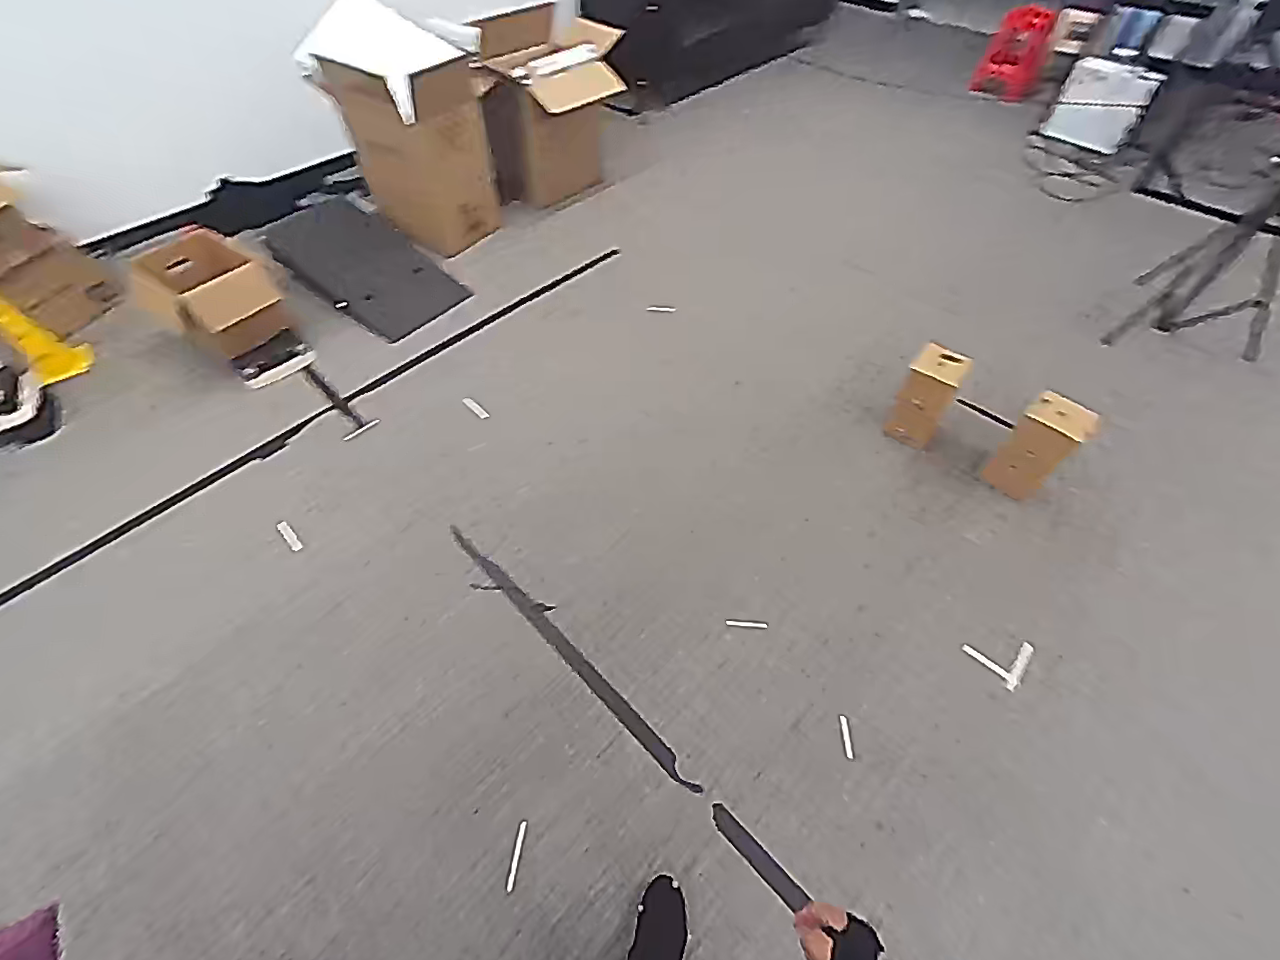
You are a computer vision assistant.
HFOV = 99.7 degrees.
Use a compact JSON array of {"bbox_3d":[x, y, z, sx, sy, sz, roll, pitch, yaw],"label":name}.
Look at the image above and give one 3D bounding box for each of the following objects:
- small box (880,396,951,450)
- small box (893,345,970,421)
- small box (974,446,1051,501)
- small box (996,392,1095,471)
[{"bbox_3d":[1.058,-0.252,2.089,0.168,0.176,0.179,32,60,22],"label":"small box"},{"bbox_3d":[1.048,-0.351,1.959,0.168,0.176,0.179,33,61,23],"label":"small box"},{"bbox_3d":[1.349,-0.055,1.941,0.168,0.176,0.179,-39,63,-25],"label":"small box"},{"bbox_3d":[1.350,-0.153,1.810,0.168,0.176,0.179,-37,63,-25],"label":"small box"}]
